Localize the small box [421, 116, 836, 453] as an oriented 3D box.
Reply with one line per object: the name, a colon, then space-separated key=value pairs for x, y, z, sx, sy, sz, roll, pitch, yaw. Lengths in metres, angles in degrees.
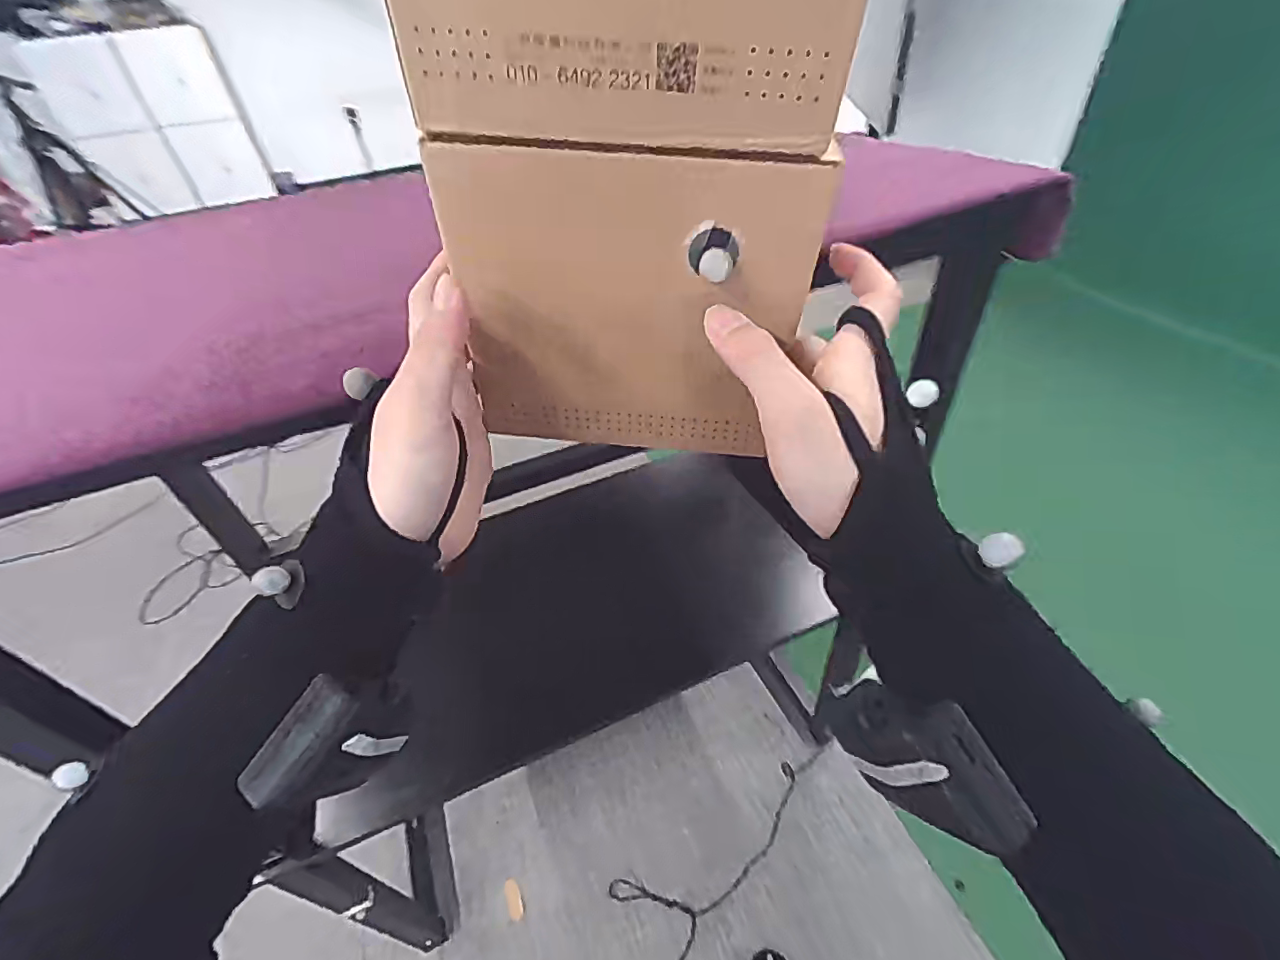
small box: x=0.002 y=-0.134 z=0.333 sx=0.179 sy=0.176 sz=0.168 roll=6 pitch=47 yaw=4
